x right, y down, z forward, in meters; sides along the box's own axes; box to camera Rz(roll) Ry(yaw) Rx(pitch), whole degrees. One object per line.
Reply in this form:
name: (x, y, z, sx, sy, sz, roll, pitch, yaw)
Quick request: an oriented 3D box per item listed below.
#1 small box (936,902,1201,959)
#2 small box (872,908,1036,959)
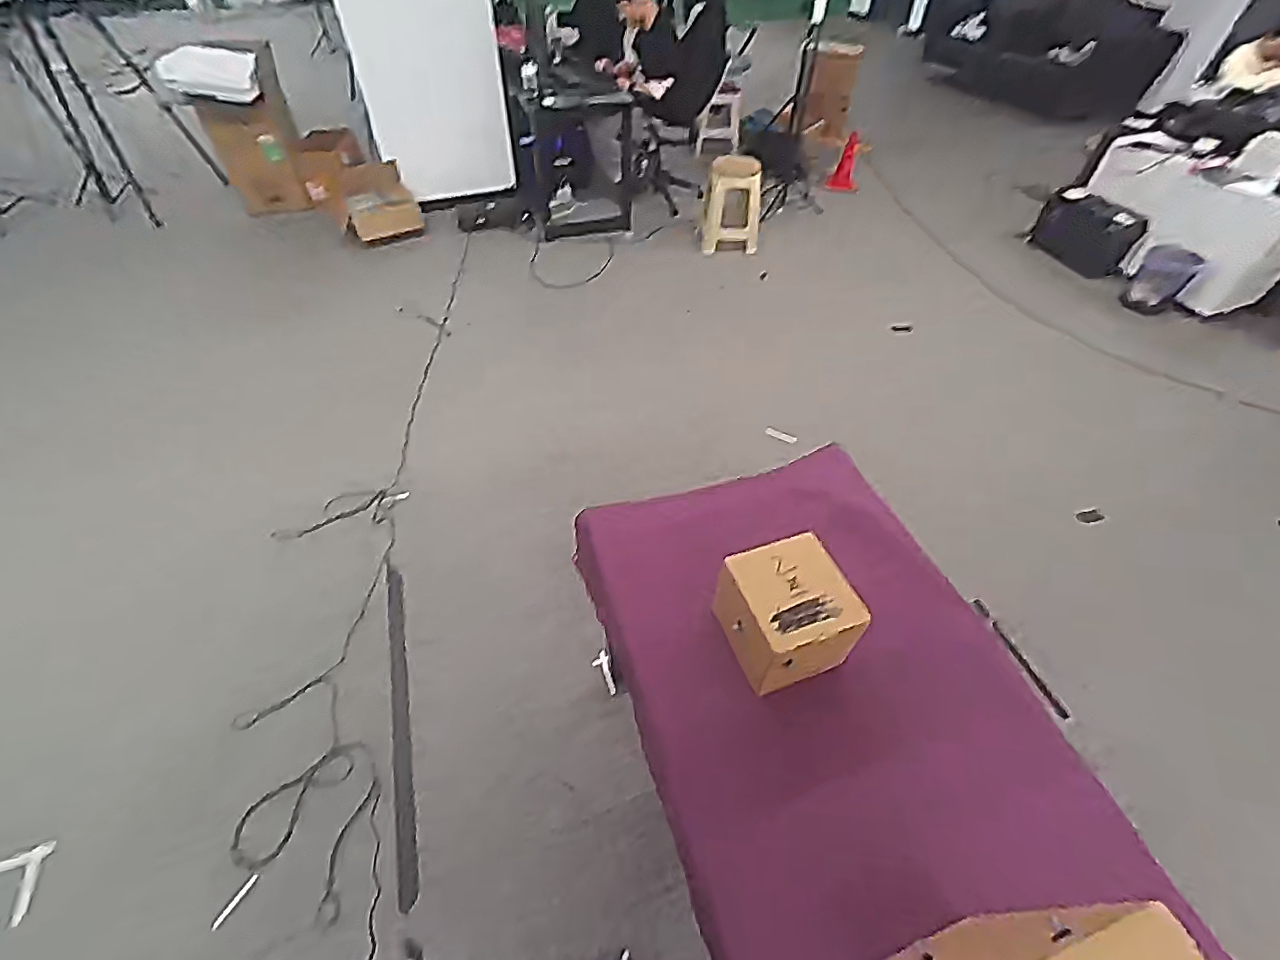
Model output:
small box: (0.387, 0.491, 0.462, 0.179, 0.176, 0.168, -13, 51, -12)
small box: (0.375, 0.599, 0.585, 0.179, 0.176, 0.168, -13, 51, -13)
